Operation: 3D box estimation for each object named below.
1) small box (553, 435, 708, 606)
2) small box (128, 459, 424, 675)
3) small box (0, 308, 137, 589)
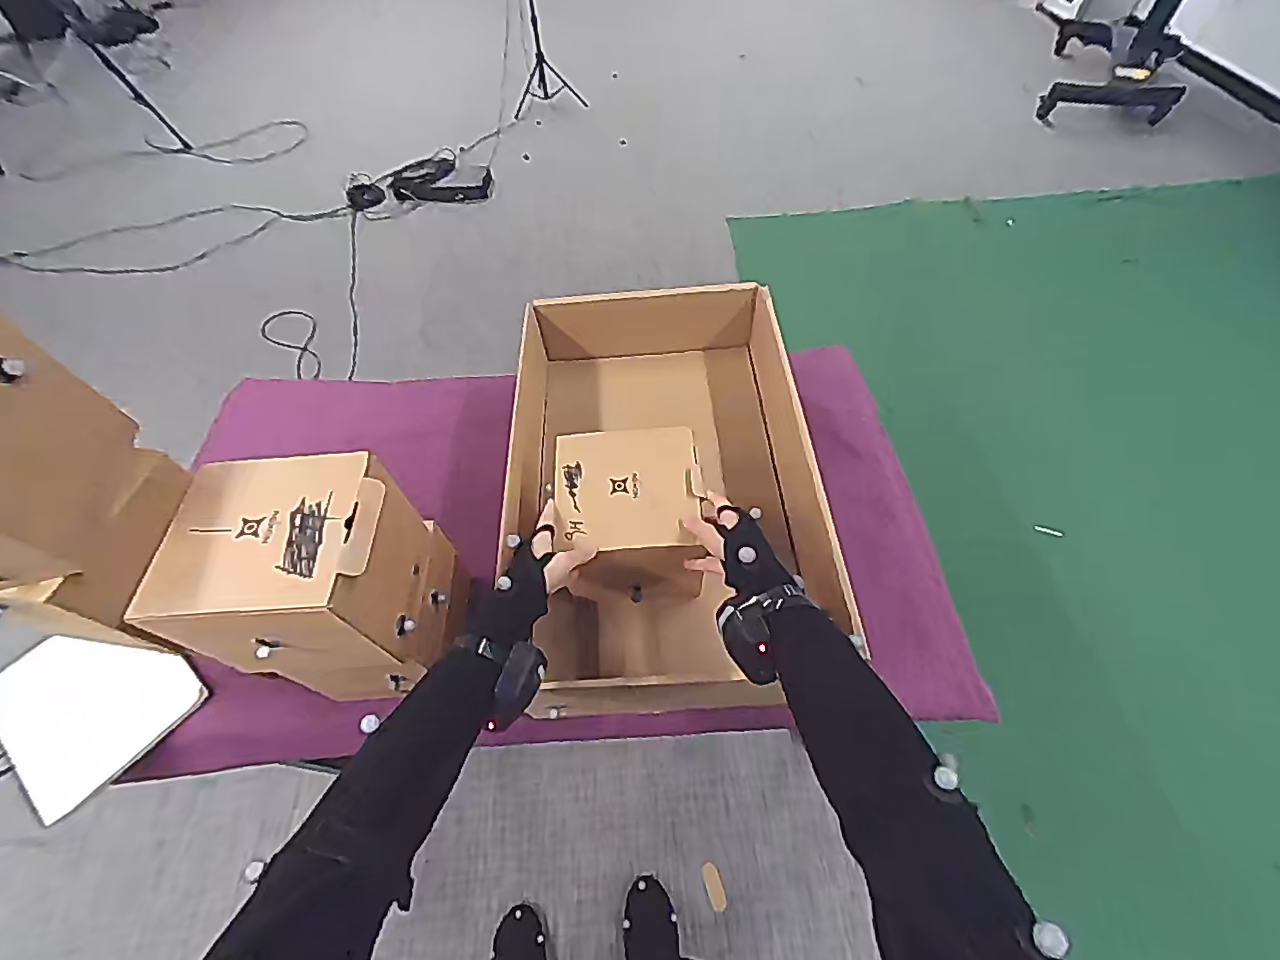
[{"bbox_3d":[-0.011,0.058,0.708,0.179,0.176,0.168,-3,57,1],"label":"small box"},{"bbox_3d":[-0.346,0.095,0.564,0.179,0.176,0.168,-3,54,-1],"label":"small box"},{"bbox_3d":[-0.588,-0.018,0.454,0.168,0.176,0.179,-12,56,-4],"label":"small box"}]
